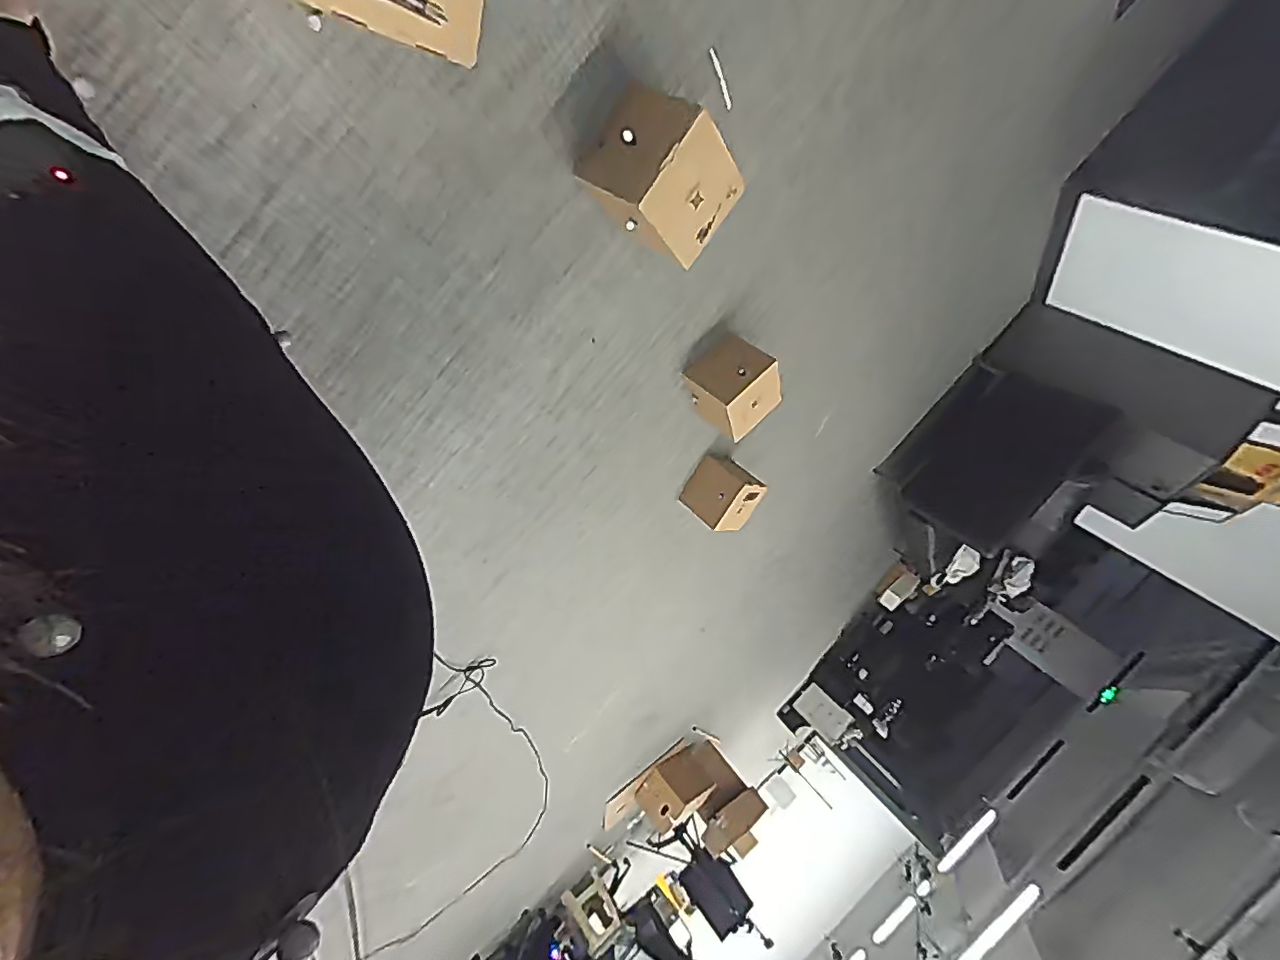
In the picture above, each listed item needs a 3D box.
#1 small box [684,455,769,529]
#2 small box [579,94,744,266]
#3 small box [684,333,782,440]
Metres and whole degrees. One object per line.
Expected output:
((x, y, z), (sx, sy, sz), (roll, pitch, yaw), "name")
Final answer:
((0.271, 0.038, 1.716), (0.168, 0.176, 0.179), (6, 120, -51), "small box")
((0.033, -0.491, 0.883), (0.168, 0.176, 0.179), (-53, 147, 8), "small box")
((0.241, -0.243, 1.388), (0.179, 0.176, 0.168), (-43, 147, -9), "small box")
